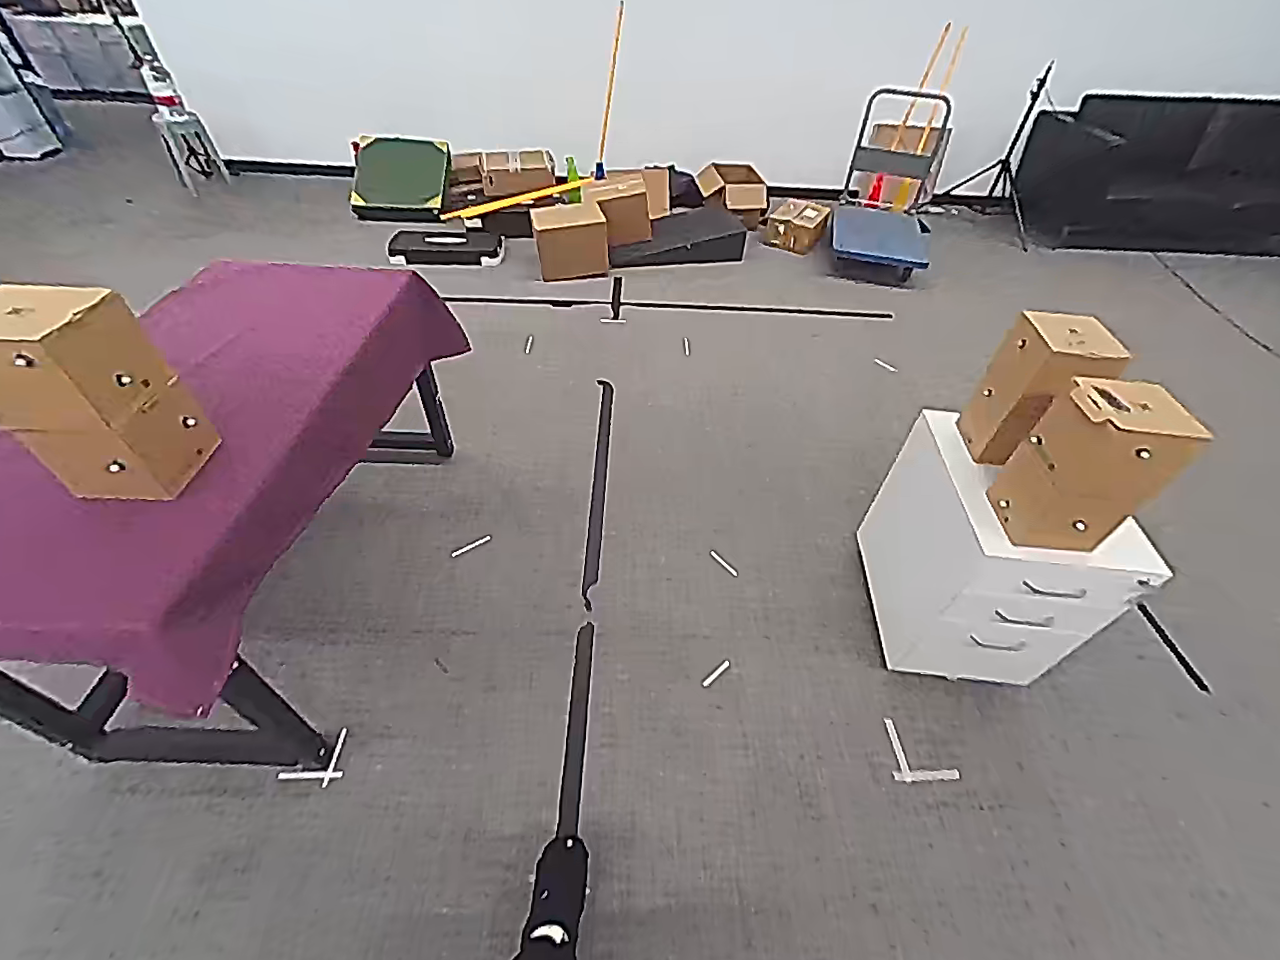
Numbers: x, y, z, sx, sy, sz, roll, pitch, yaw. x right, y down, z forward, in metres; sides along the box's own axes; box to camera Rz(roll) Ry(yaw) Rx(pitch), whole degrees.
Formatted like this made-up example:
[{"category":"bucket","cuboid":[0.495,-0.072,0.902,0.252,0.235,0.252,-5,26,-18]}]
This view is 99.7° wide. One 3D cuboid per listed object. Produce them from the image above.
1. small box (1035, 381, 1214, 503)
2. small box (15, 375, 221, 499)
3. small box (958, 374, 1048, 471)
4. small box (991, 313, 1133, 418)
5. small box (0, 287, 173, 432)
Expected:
[{"category":"small box","cuboid":[0.919,-0.072,1.055,0.179,0.176,0.168,6,45,1]},{"category":"small box","cuboid":[-0.921,-0.079,0.981,0.179,0.176,0.168,2,45,-1]},{"category":"small box","cuboid":[0.942,-0.142,1.354,0.179,0.176,0.168,7,46,2]},{"category":"small box","cuboid":[0.945,-0.258,1.236,0.168,0.176,0.179,6,46,3]},{"category":"small box","cuboid":[-0.920,-0.191,0.864,0.179,0.176,0.168,1,44,-4]}]
